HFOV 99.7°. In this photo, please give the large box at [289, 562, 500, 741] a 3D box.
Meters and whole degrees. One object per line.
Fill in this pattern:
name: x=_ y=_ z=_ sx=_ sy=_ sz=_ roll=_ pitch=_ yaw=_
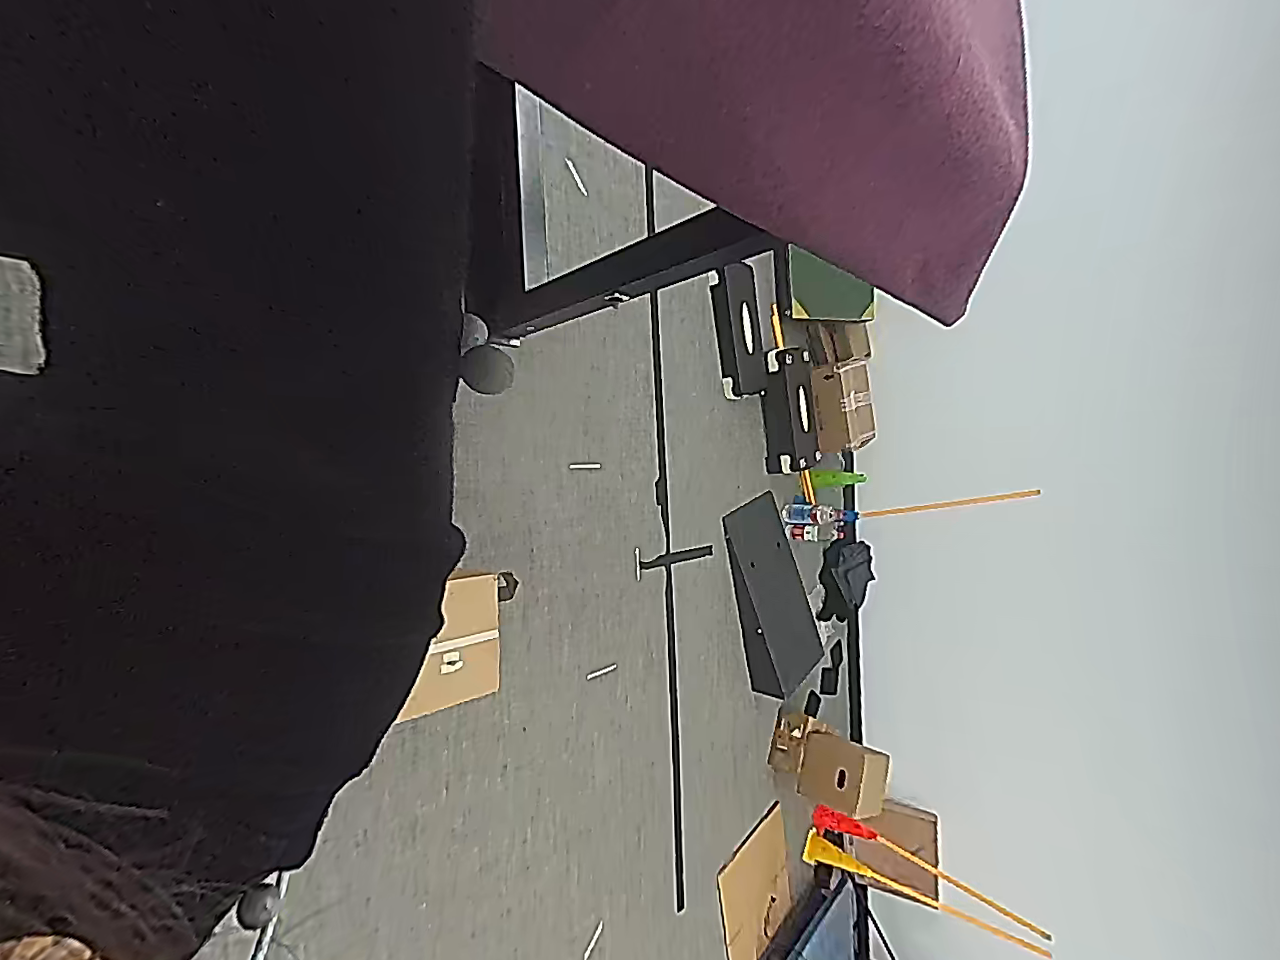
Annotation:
large box: x=-0.616 y=0.394 z=1.372 sx=0.408 sy=0.320 sz=0.320 roll=-1 pitch=91 yaw=-48
